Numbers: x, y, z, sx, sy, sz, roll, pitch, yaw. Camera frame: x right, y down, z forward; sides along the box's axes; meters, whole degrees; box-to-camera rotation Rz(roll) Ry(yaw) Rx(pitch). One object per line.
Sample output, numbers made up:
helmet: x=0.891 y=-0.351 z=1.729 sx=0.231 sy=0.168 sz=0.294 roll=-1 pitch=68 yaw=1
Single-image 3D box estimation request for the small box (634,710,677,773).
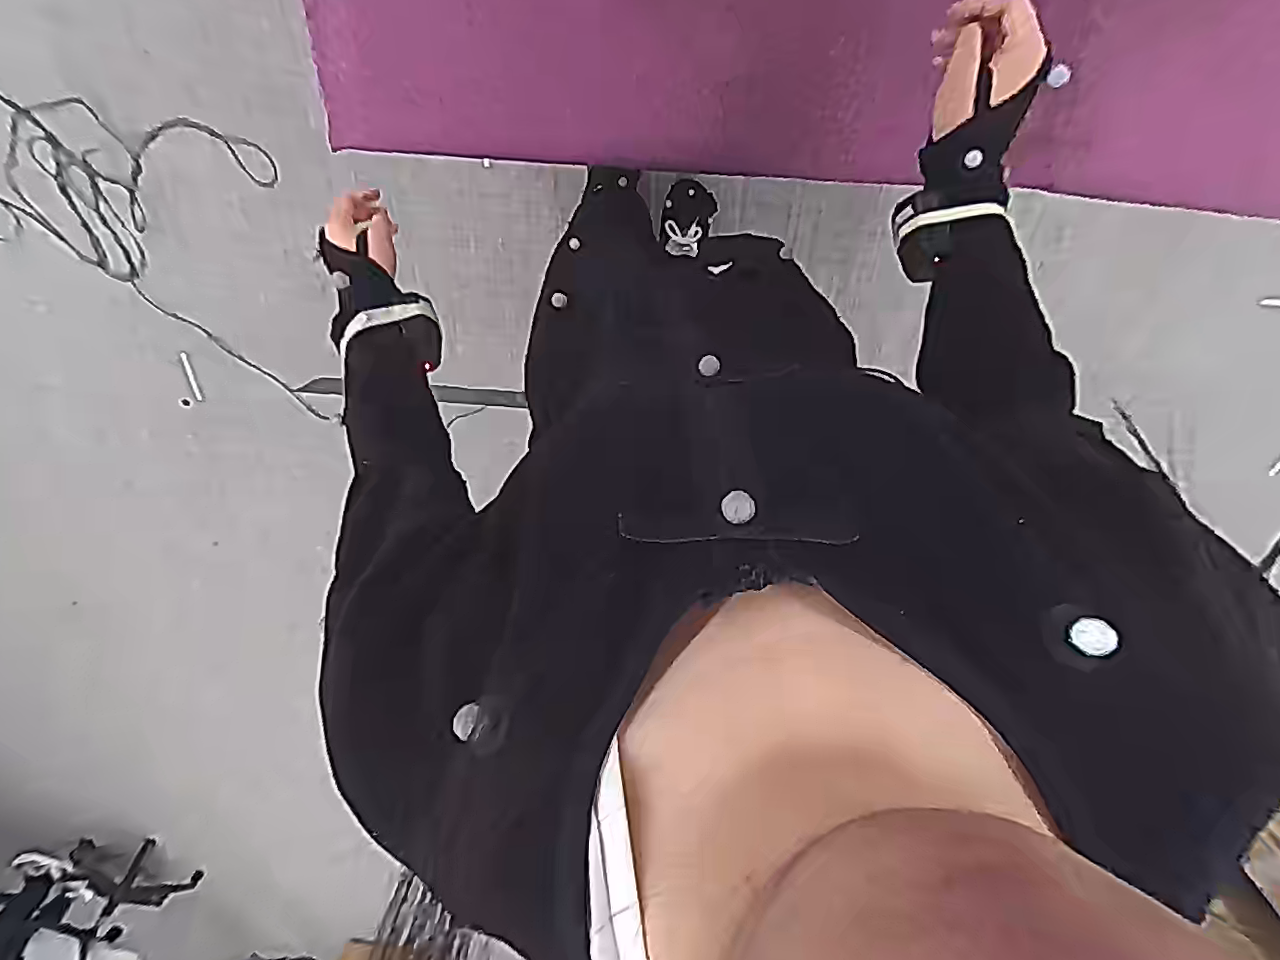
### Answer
small box: x=0.060 y=1.055 z=2.189 sx=0.168 sy=0.176 sz=0.179 roll=0 pitch=121 yaw=2
